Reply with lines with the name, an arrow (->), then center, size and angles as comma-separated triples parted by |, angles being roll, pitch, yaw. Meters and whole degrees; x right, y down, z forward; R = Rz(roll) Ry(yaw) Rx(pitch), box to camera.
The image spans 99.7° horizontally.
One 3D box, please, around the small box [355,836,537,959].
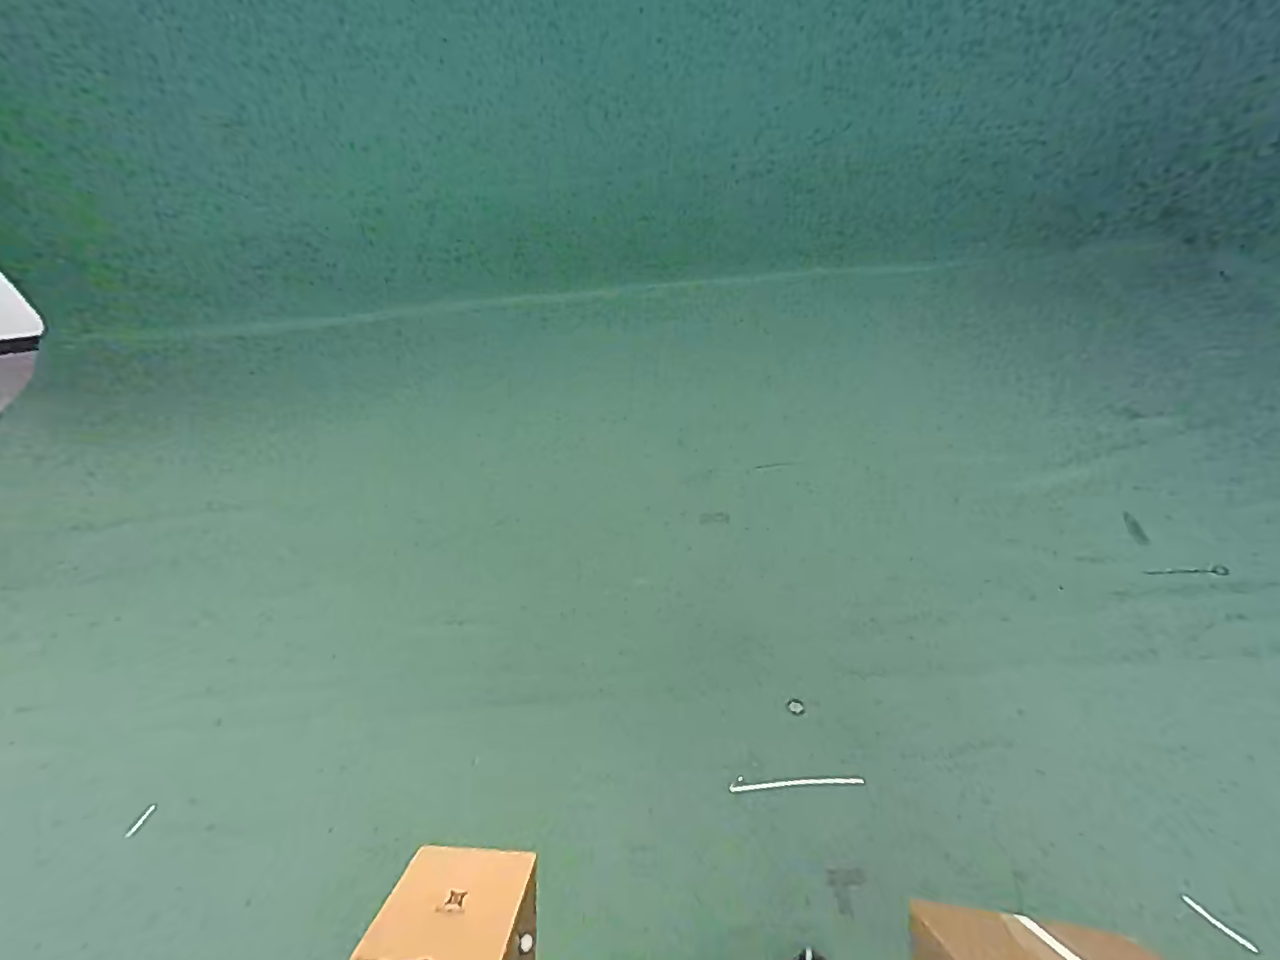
small box -> -0.234, 0.594, 0.677 | 0.168, 0.176, 0.179 | 2, 6, 3
